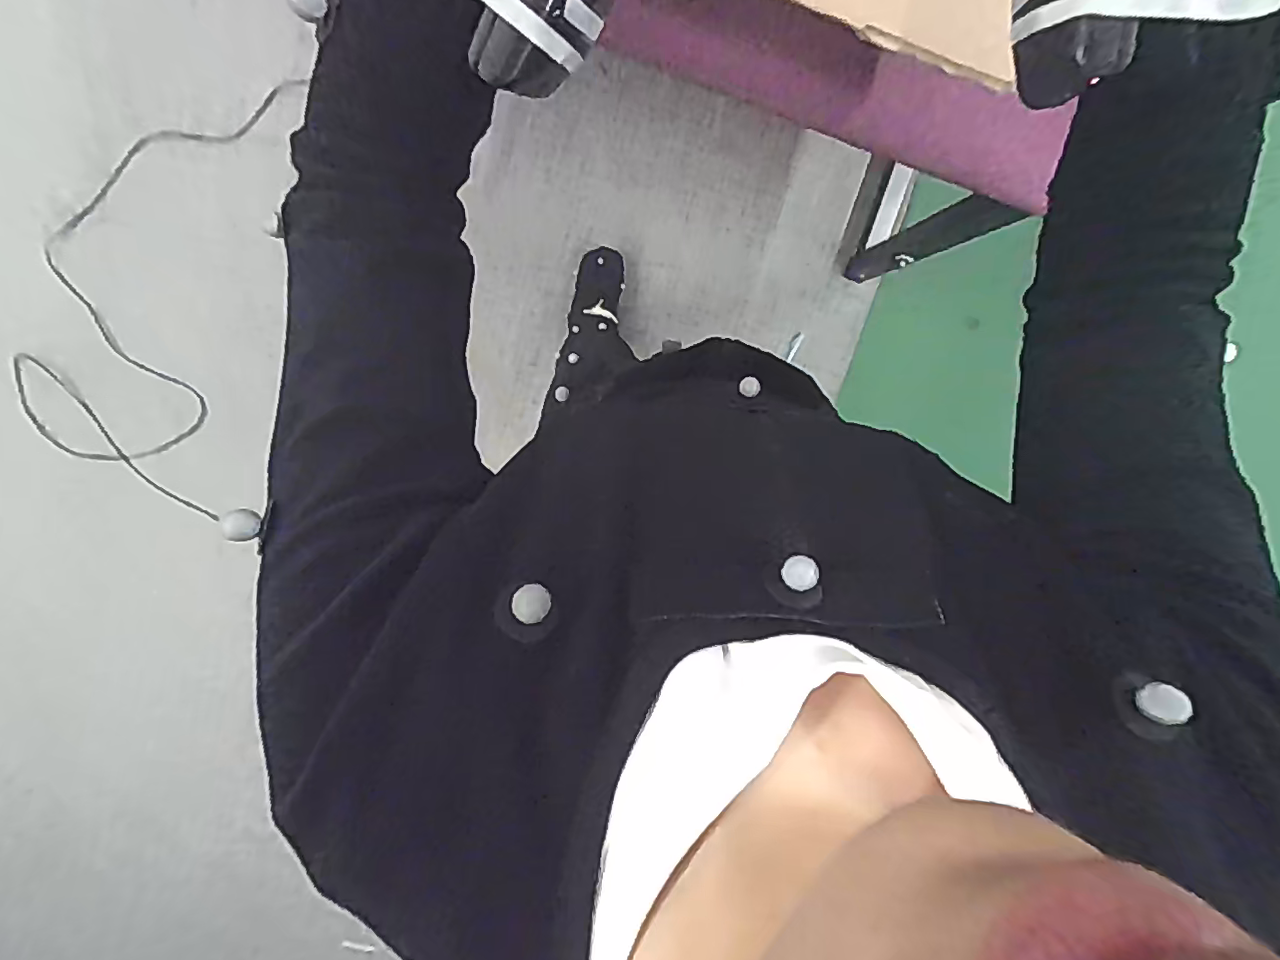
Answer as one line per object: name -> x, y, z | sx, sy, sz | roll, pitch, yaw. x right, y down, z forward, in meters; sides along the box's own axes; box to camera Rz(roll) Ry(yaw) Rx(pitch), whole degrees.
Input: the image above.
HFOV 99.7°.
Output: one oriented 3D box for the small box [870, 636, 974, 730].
small box -> 0.782, 0.563, 1.523 | 0.179, 0.176, 0.168 | 17, 100, -4
